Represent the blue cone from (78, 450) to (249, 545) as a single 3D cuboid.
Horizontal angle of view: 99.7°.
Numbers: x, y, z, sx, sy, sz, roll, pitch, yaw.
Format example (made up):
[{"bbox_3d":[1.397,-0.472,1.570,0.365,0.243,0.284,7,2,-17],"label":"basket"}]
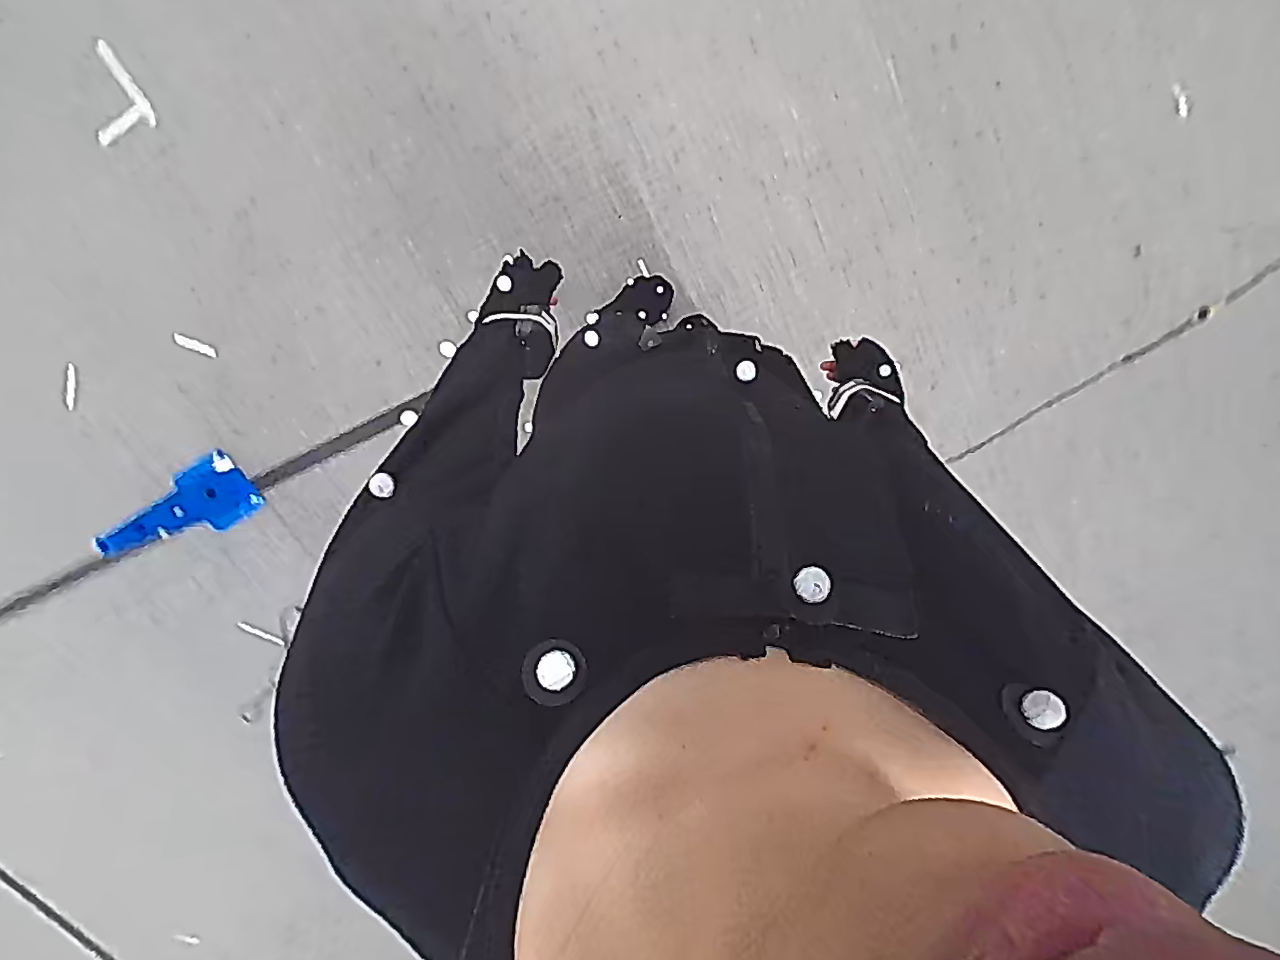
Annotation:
[{"bbox_3d":[-1.242,0.080,1.396,0.193,0.380,0.192,-27,106,9],"label":"blue cone"}]
